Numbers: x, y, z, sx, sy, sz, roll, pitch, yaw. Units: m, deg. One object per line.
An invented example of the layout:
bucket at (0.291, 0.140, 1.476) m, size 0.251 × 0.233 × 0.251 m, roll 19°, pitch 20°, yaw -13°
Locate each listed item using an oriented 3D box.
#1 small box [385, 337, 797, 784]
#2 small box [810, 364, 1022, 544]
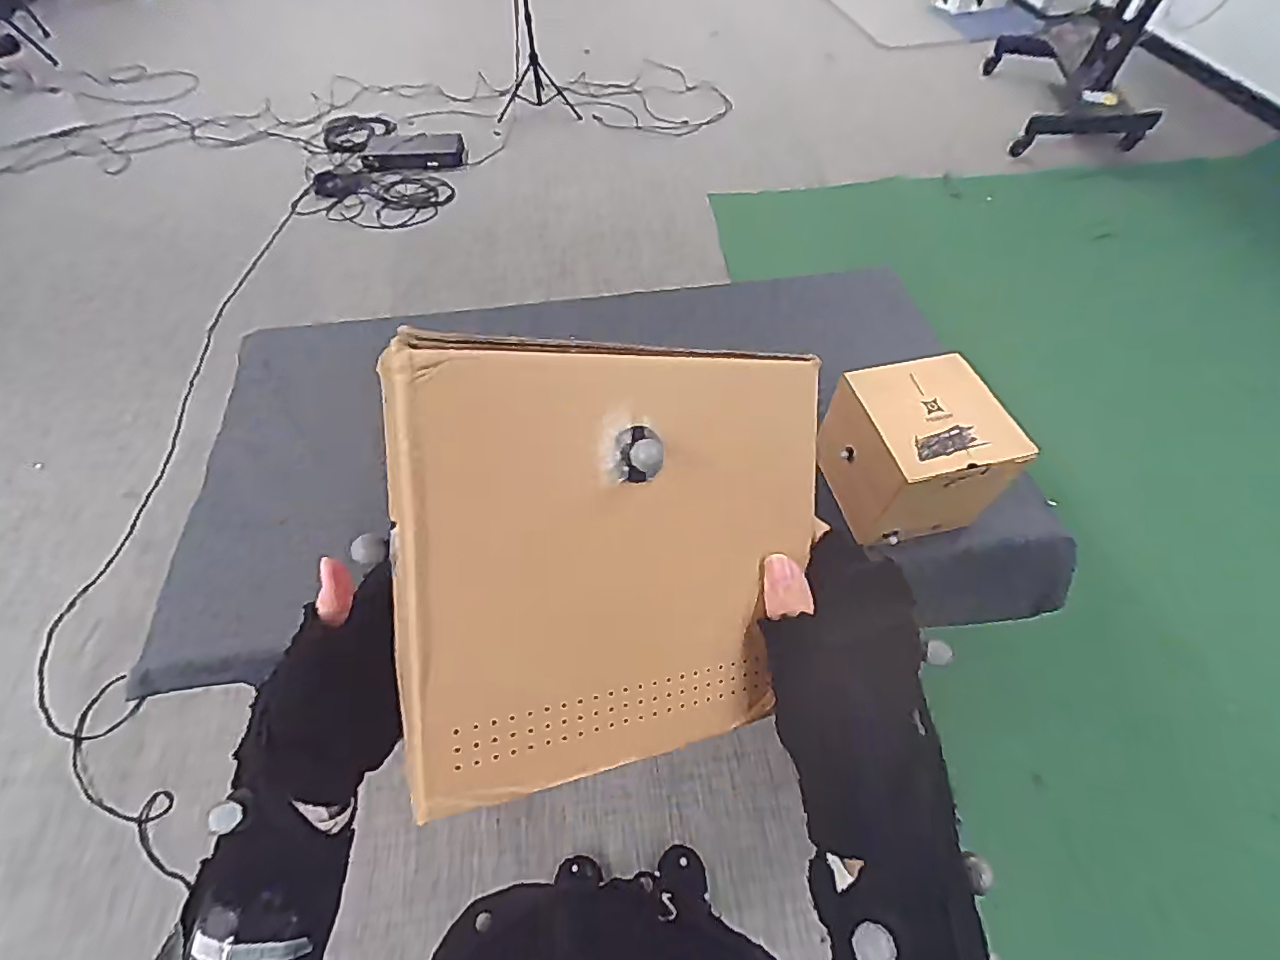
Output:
small box at (-0.036, 0.028, 0.293) m, size 0.179 × 0.168 × 0.176 m, roll -1°, pitch 96°, yaw -28°
small box at (0.354, -0.027, 0.735) m, size 0.168 × 0.176 × 0.179 m, roll -10°, pitch 55°, yaw -6°
